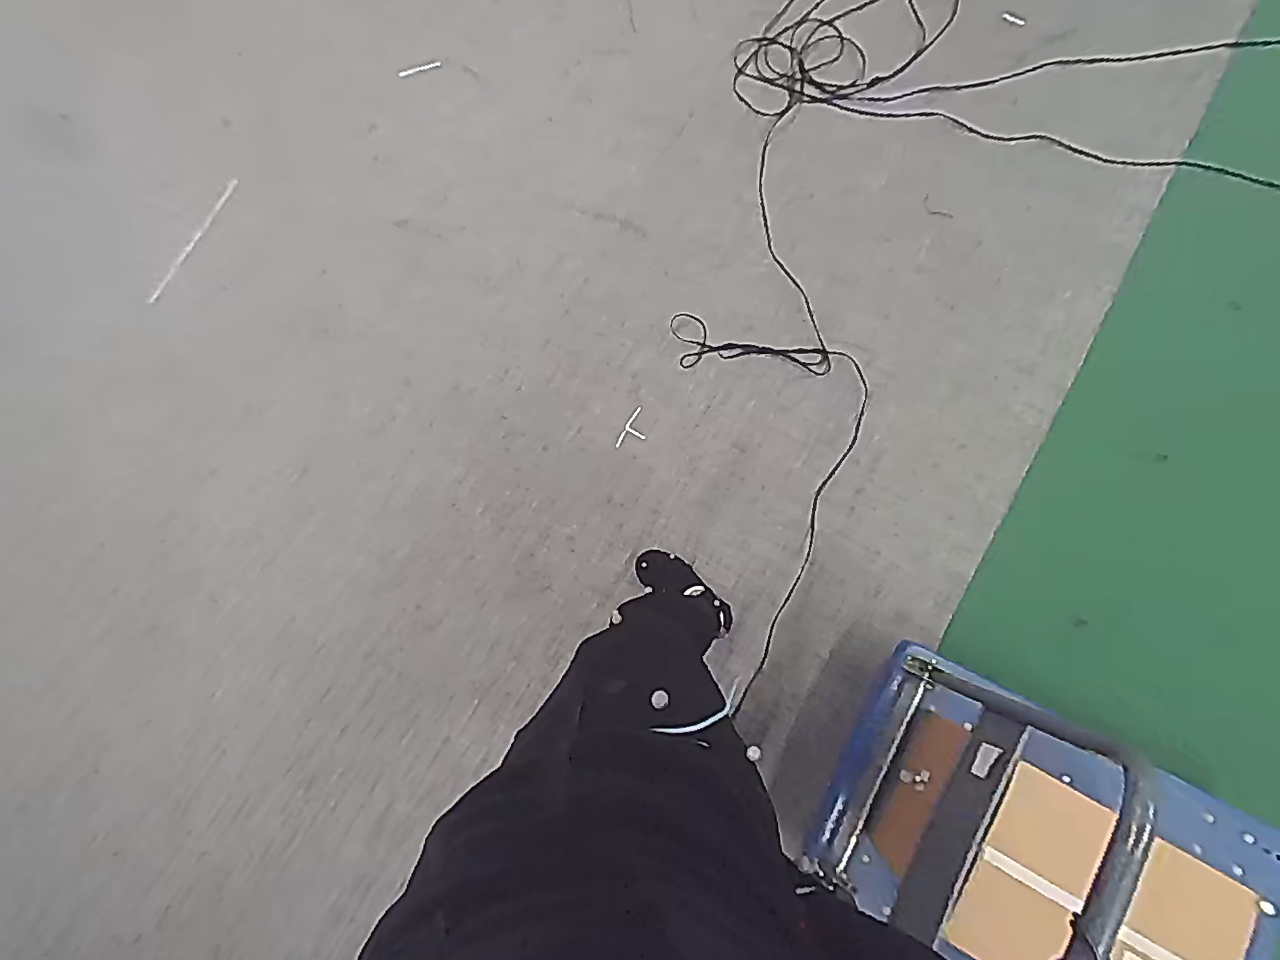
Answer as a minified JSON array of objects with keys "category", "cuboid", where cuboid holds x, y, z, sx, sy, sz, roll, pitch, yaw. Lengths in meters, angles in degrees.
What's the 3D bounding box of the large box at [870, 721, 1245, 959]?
[{"category":"large box","cuboid":[0.725,0.722,1.010,0.408,0.320,0.320,29,83,7]}]
